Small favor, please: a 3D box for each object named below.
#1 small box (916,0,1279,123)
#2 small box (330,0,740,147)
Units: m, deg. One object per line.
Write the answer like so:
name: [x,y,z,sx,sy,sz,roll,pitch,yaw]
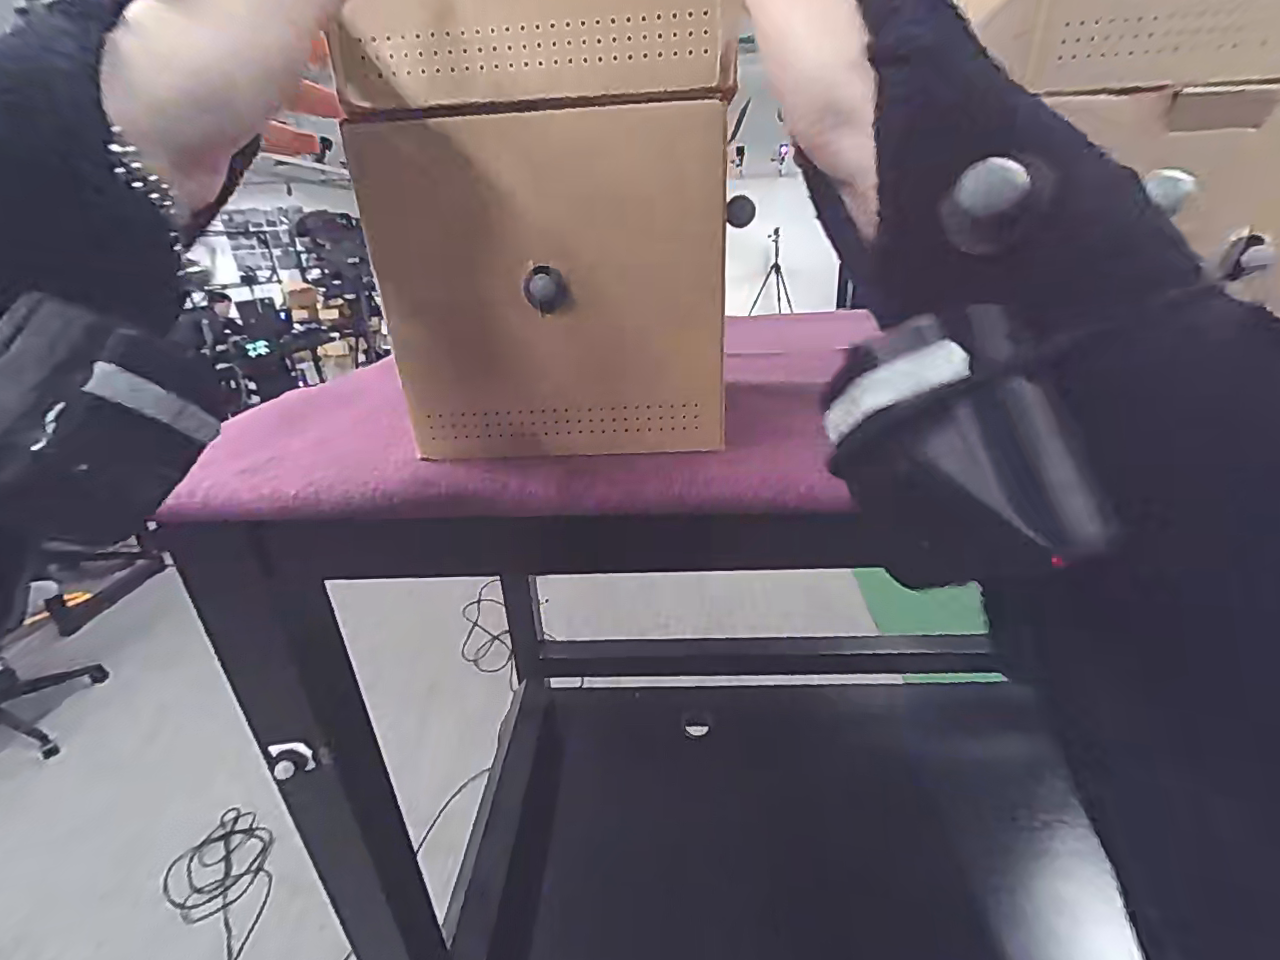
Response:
small box: [0.271,-0.300,0.292,0.179,0.176,0.168,0,25,4]
small box: [-0.048,-0.276,0.269,0.179,0.176,0.168,-3,25,2]
